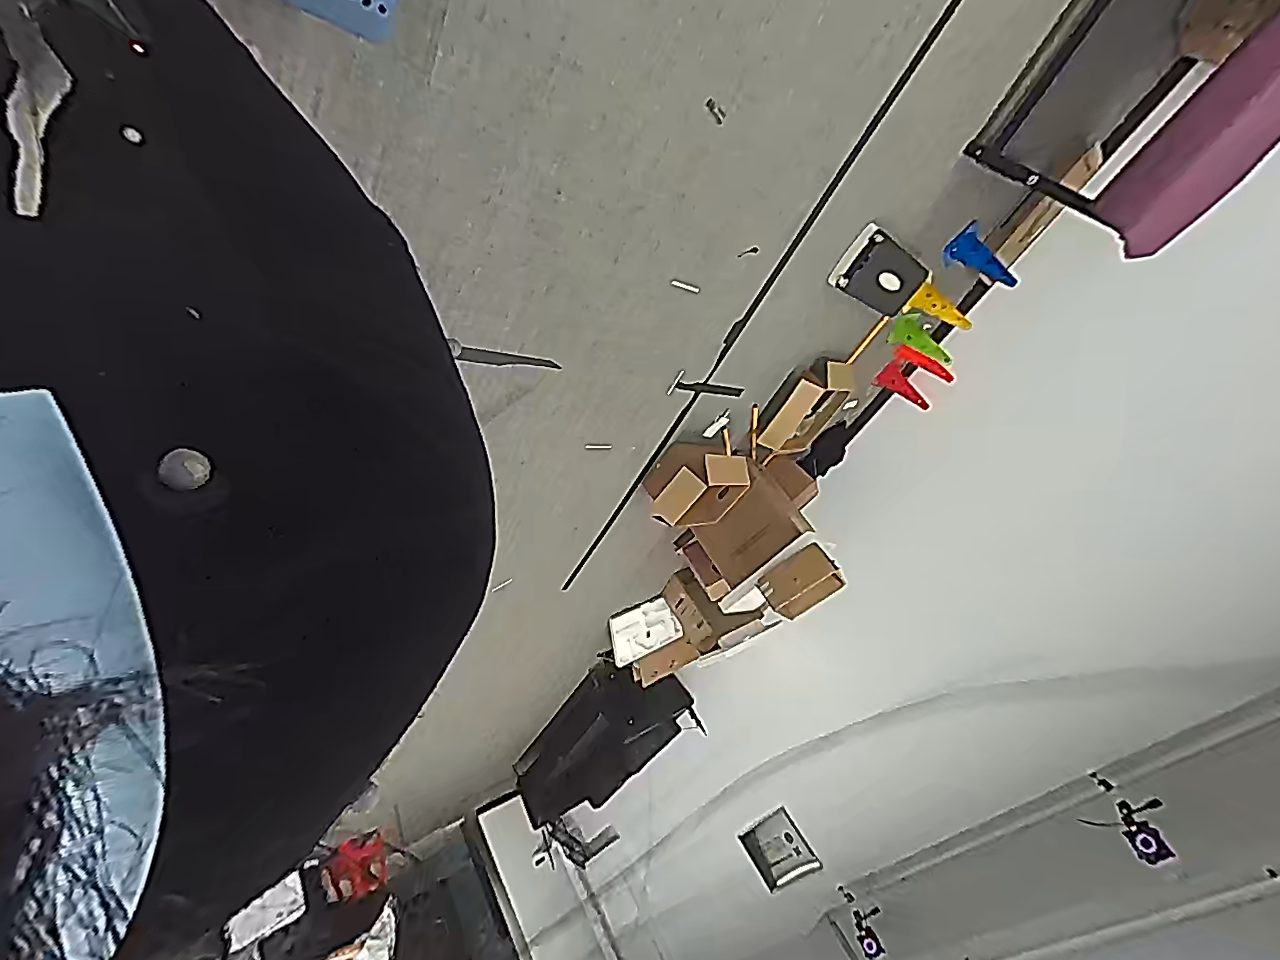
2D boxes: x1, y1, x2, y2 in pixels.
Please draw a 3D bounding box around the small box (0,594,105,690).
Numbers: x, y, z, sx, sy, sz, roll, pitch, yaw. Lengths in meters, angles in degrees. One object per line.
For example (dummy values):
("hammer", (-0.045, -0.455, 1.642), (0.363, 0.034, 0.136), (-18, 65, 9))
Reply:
("small box", (-1.645, 0.450, 1.521), (0.168, 0.176, 0.179), (-15, 145, -37))
